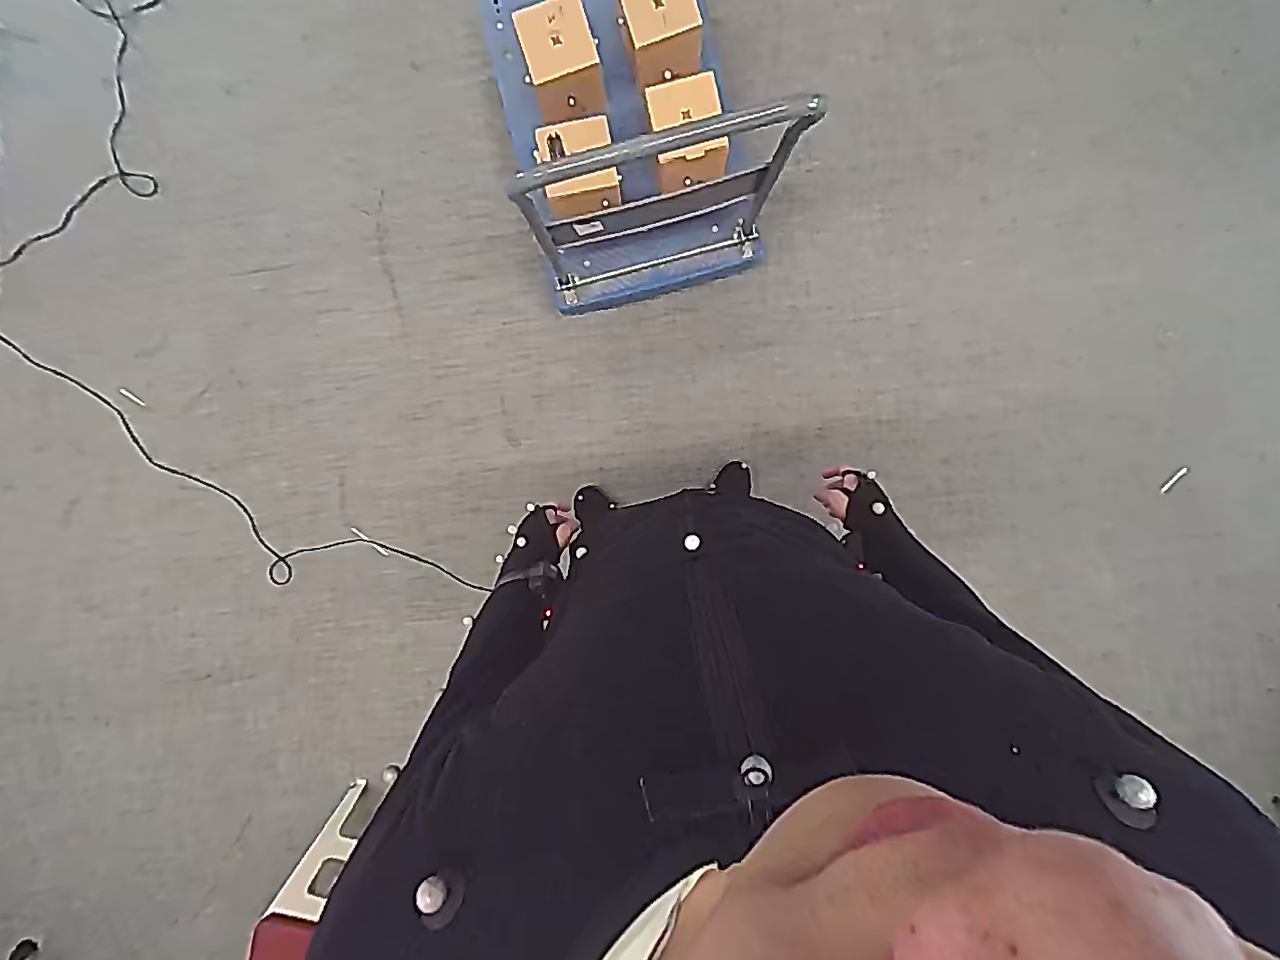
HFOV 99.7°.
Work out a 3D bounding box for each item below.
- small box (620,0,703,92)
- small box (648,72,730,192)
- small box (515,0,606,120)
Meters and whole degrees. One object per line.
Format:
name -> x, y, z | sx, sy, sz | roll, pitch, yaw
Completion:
small box -> 0.049, -1.121, 1.337 | 0.168, 0.176, 0.179 | -17, 93, 4
small box -> 0.116, -0.859, 1.349 | 0.168, 0.176, 0.179 | -13, 93, 3
small box -> -0.190, -1.043, 1.353 | 0.168, 0.176, 0.179 | -18, 92, 3
